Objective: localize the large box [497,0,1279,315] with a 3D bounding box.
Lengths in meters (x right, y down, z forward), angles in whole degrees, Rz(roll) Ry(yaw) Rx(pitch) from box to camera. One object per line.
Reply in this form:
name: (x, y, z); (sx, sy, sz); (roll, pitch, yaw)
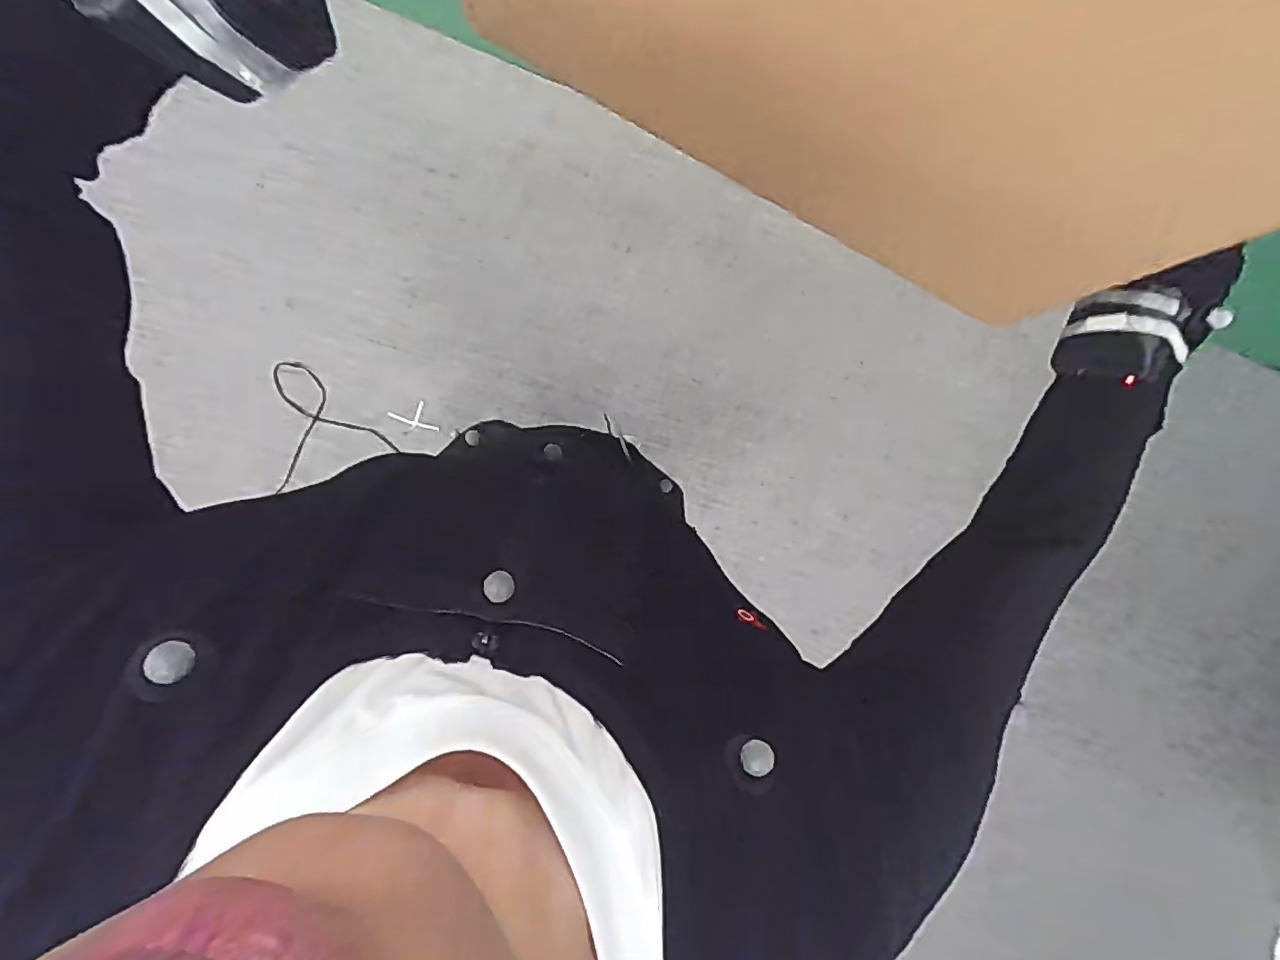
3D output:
large box: (0.191, -0.328, 0.235); (0.408, 0.320, 0.320); (14, 77, -27)
